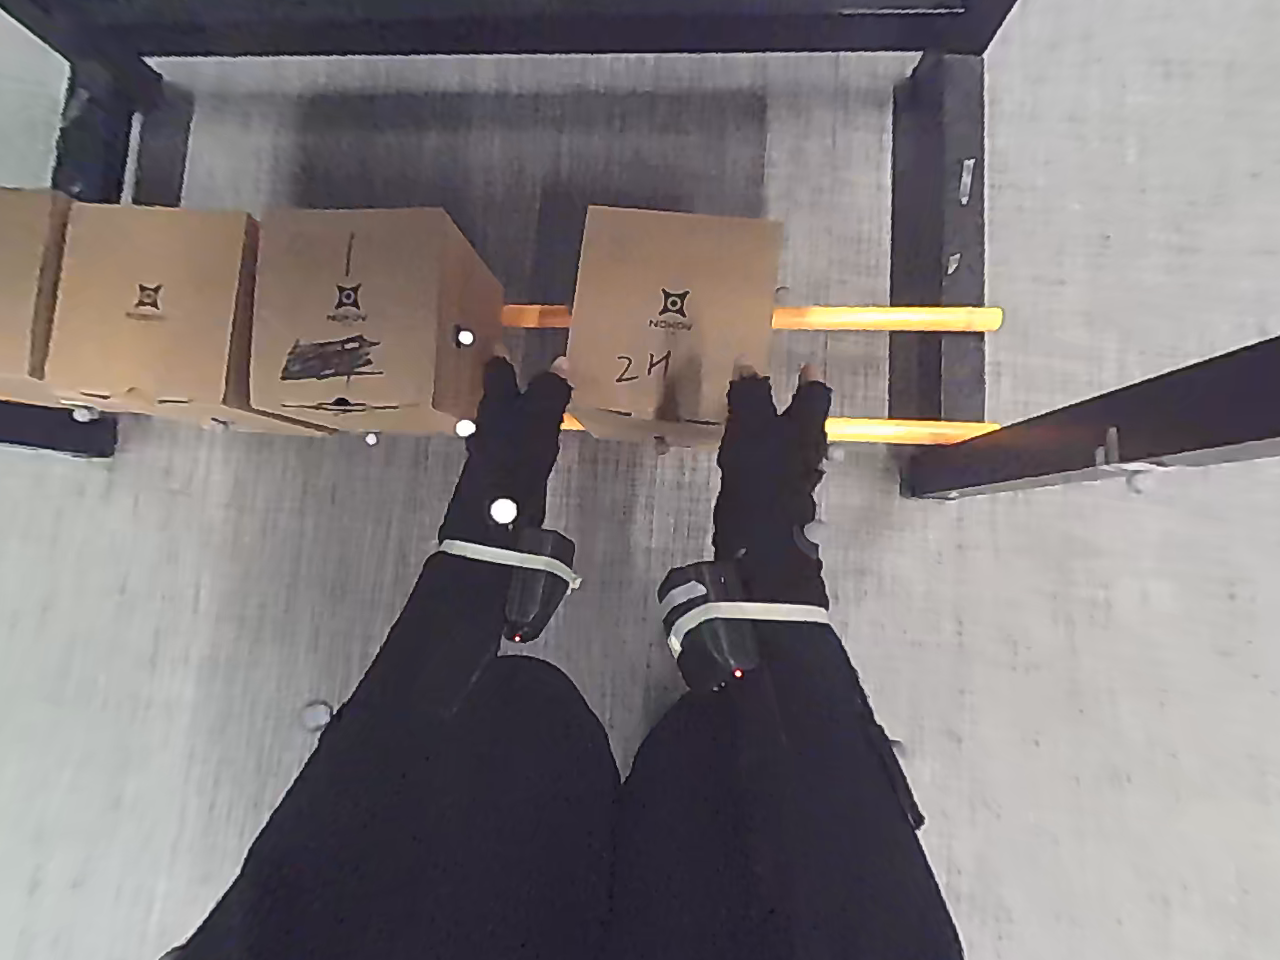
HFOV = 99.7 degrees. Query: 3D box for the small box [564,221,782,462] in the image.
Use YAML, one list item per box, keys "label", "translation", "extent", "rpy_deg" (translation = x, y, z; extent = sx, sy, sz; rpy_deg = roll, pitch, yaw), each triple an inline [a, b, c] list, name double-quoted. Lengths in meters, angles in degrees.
- label: "small box"
  translation: [0.033, -0.120, 0.530]
  extent: [0.168, 0.176, 0.179]
  rpy_deg: [7, 87, 6]
